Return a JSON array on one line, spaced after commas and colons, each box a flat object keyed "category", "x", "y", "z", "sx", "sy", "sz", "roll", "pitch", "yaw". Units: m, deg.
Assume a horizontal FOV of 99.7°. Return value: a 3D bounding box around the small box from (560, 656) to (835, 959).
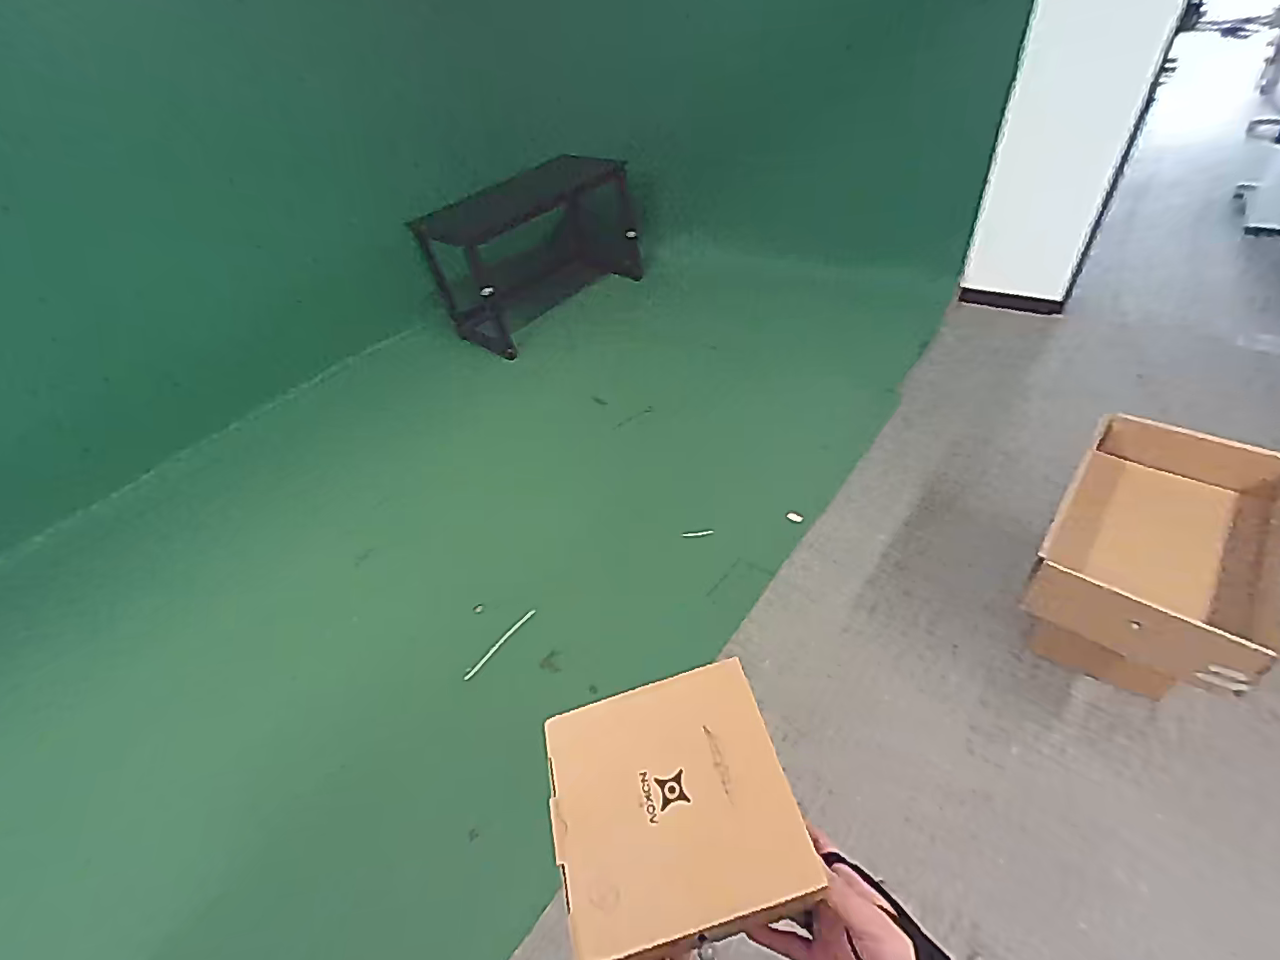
[{"category": "small box", "x": 0.046, "y": 0.282, "z": 0.463, "sx": 0.179, "sy": 0.176, "sz": 0.168, "roll": -16, "pitch": 47, "yaw": -1}]
